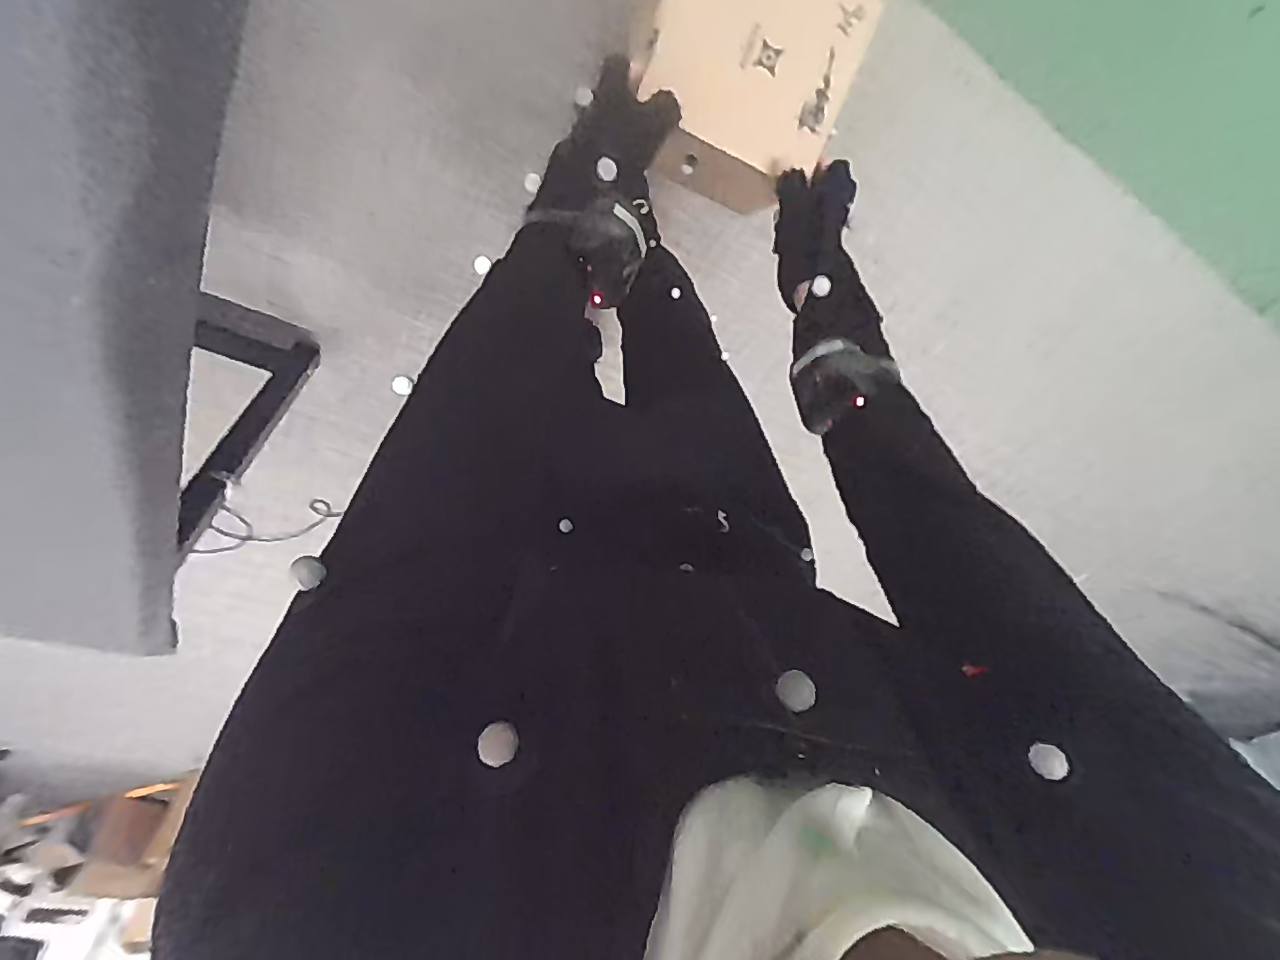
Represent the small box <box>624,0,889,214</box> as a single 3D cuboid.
[{"bbox_3d":[0.093,-0.386,0.535,0.179,0.176,0.168,20,106,-13],"label":"small box"}]
